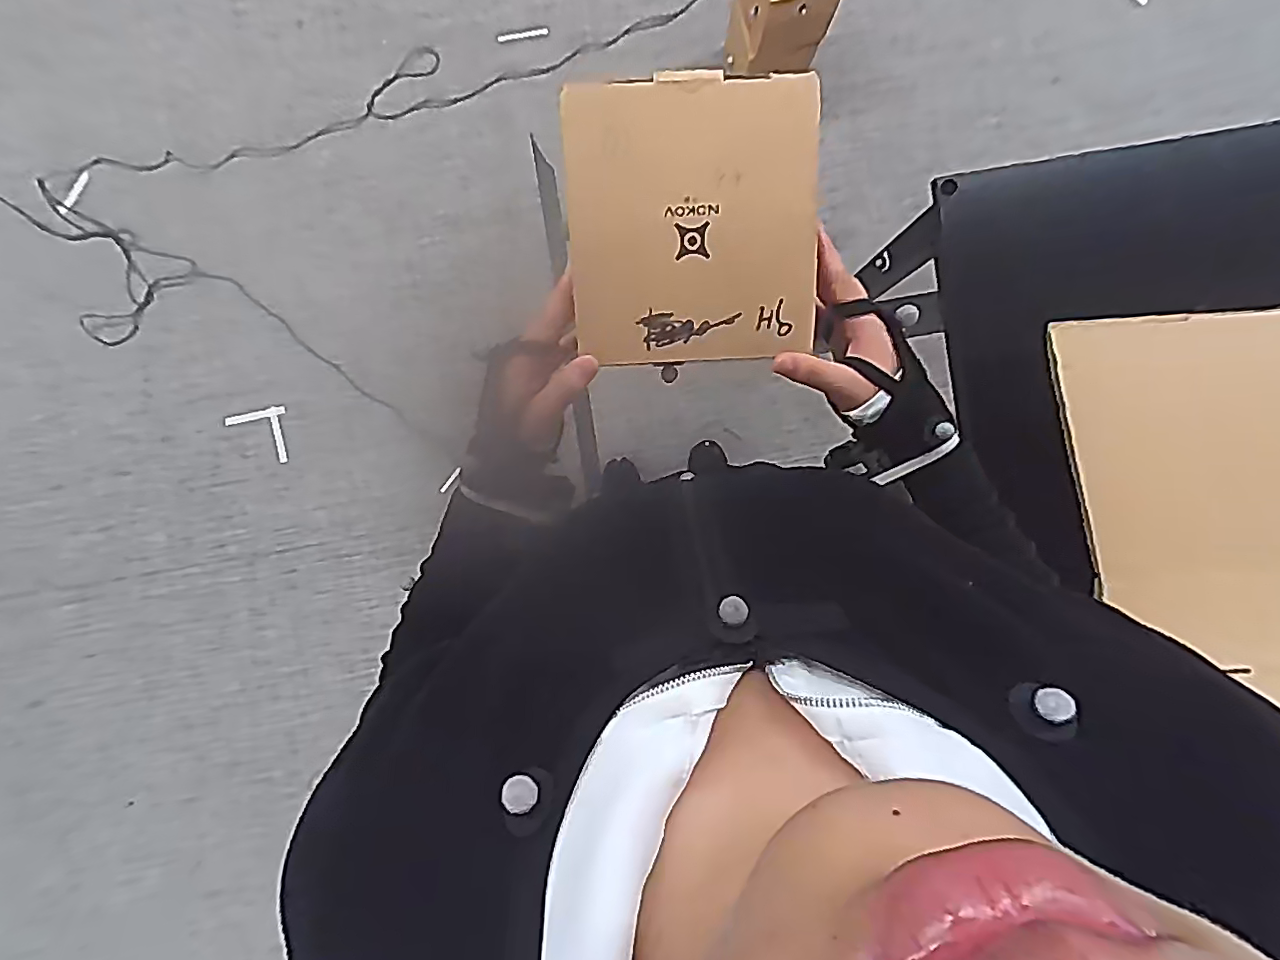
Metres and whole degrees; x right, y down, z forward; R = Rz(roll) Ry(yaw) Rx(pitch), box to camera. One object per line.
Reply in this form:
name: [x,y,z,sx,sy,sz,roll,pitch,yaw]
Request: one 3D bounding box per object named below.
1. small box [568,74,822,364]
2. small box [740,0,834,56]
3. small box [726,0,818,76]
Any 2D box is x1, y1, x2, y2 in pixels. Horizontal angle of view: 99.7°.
small box: [0.035,-0.186,0.435,0.168,0.176,0.179,-3,103,0]
small box: [0.332,-1.104,1.210,0.179,0.176,0.168,-16,93,0]
small box: [0.328,-1.107,1.373,0.179,0.176,0.168,-13,92,2]
